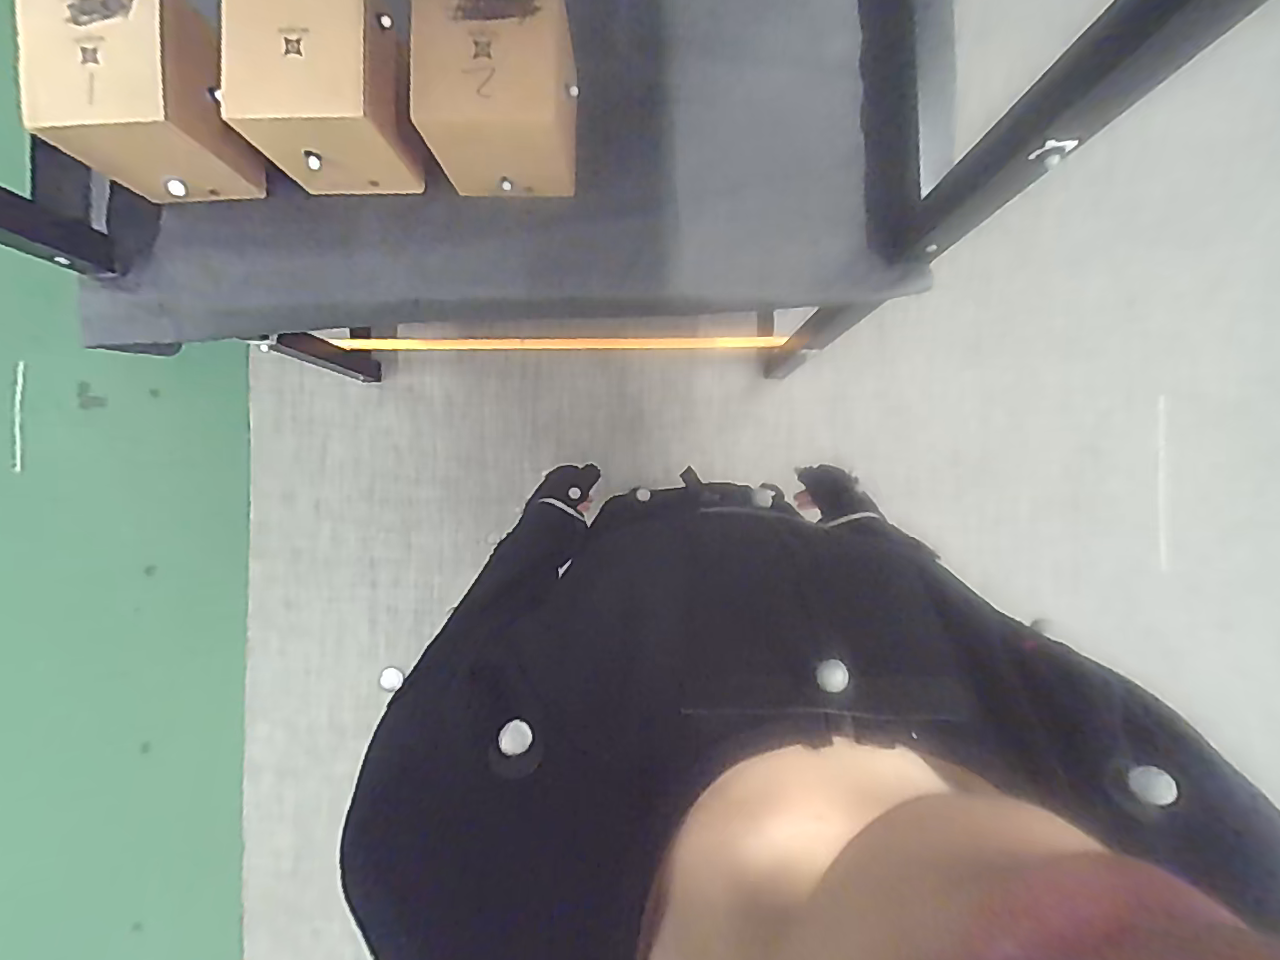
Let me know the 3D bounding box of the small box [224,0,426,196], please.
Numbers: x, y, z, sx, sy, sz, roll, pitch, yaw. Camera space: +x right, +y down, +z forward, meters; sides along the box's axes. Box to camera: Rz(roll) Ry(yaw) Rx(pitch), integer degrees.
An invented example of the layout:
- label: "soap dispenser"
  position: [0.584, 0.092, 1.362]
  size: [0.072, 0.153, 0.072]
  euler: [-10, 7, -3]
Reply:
- label: "small box"
  position: [-0.387, -0.488, 0.692]
  size: [0.168, 0.176, 0.179]
  euler: [0, 88, 0]

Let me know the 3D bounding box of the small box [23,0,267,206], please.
- label: "small box"
  position: [-0.614, -0.482, 0.693]
  size: [0.168, 0.176, 0.179]
  euler: [-3, 89, 1]
